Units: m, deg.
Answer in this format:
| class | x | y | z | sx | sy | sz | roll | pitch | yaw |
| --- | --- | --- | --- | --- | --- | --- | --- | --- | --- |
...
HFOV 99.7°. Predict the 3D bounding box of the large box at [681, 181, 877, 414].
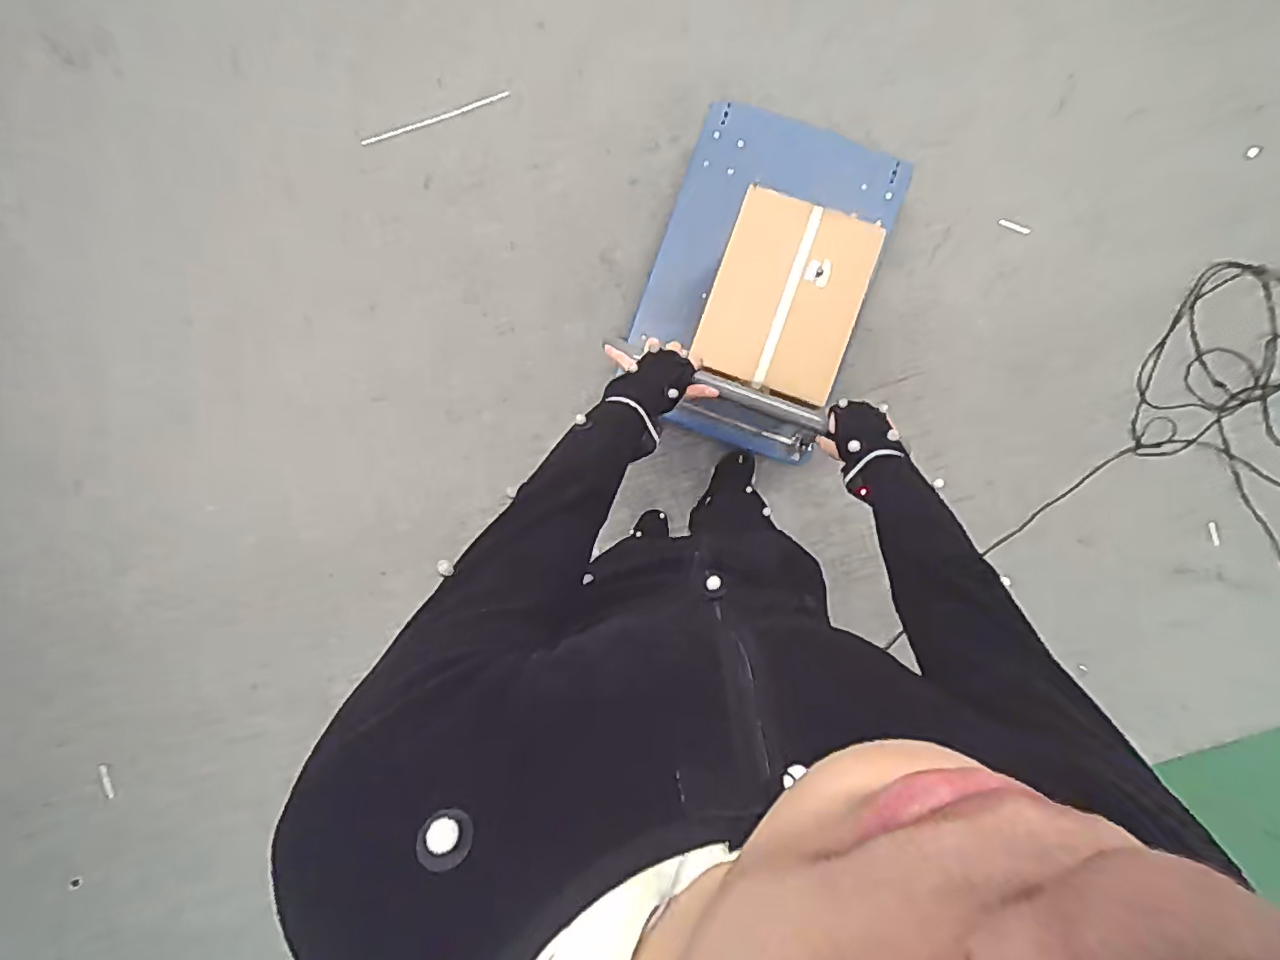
| class | x | y | z | sx | sy | sz | roll | pitch | yaw |
| --- | --- | --- | --- | --- | --- | --- | --- | --- | --- |
| large box | 0.309 | -0.410 | 1.315 | 0.320 | 0.320 | 0.408 | 20 | 90 | 0 |
